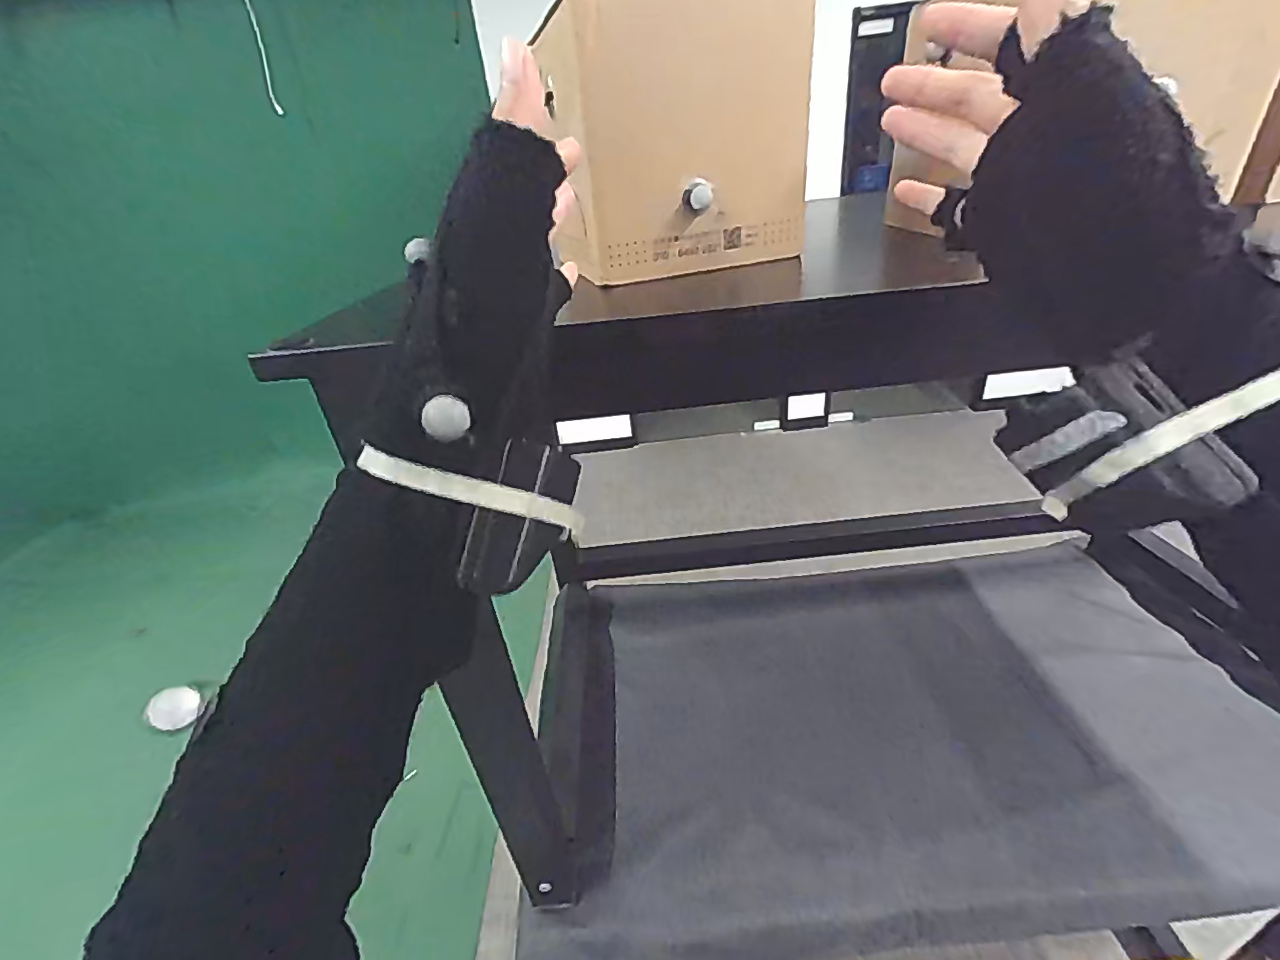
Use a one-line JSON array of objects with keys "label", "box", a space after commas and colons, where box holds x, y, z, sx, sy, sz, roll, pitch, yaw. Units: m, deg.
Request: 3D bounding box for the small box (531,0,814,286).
[{"label": "small box", "box": [0.016, -0.262, 0.437, 0.168, 0.176, 0.179, -14, 32, -12]}]
